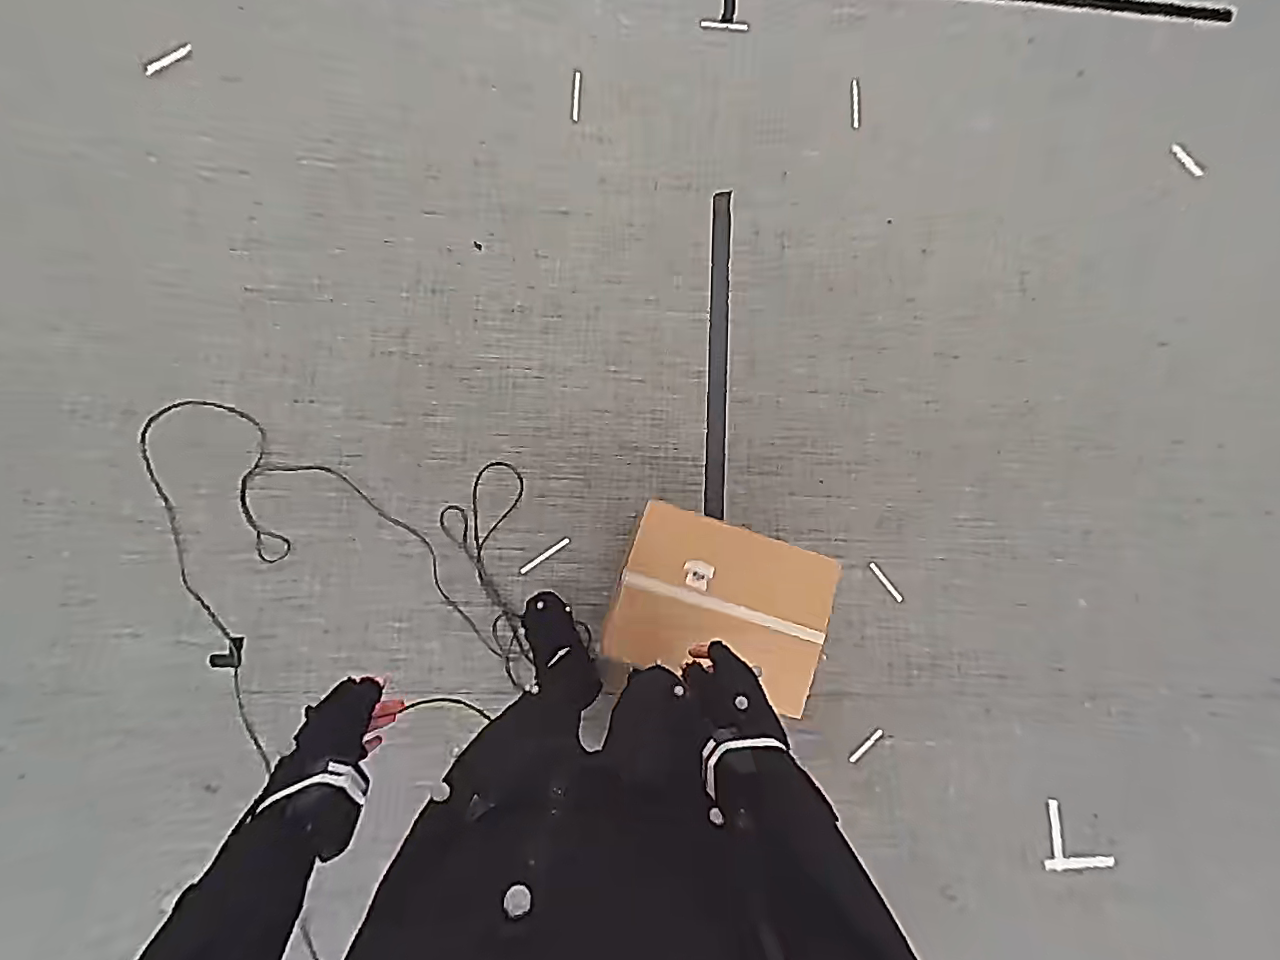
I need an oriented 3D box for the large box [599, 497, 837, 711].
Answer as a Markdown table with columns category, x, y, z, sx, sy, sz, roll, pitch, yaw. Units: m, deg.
| category | x | y | z | sx | sy | sz | roll | pitch | yaw |
| --- | --- | --- | --- | --- | --- | --- | --- | --- | --- |
| large box | 0.153 | 0.254 | 1.200 | 0.408 | 0.320 | 0.320 | 20 | 83 | 1 |
